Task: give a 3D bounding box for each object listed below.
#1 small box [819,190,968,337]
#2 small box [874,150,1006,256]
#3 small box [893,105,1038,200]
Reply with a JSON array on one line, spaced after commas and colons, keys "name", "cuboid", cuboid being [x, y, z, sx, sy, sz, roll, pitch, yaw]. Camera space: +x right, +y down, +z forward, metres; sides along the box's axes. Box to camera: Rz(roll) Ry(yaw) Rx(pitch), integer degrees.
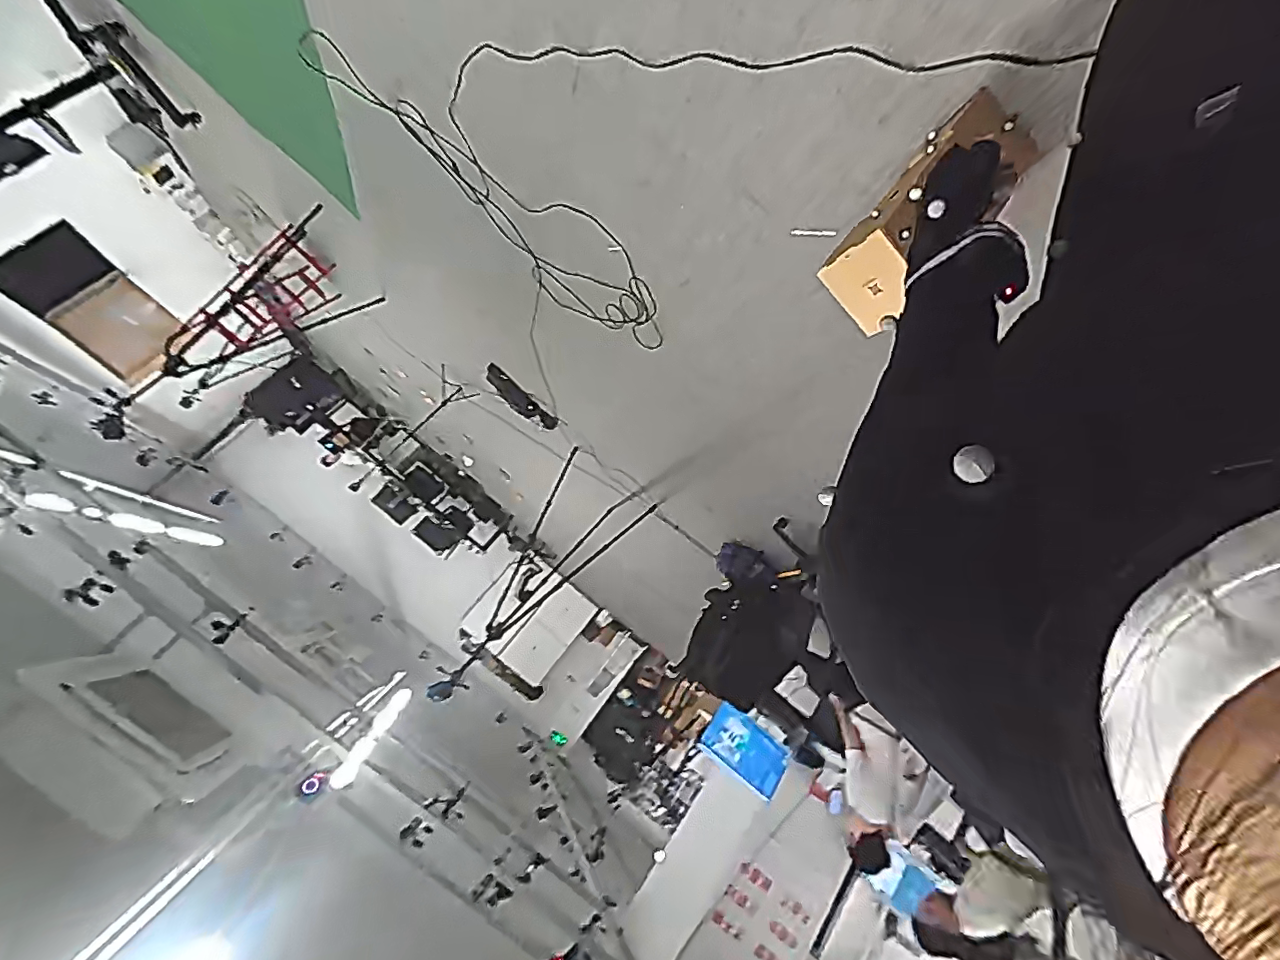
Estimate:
[{"name": "small box", "cuboid": [0.500, -0.421, 1.063, 0.179, 0.176, 0.168, 45, 159, -12]}, {"name": "small box", "cuboid": [0.602, -0.538, 1.112, 0.179, 0.176, 0.168, 42, 159, -7]}, {"name": "small box", "cuboid": [0.700, -0.661, 1.166, 0.179, 0.176, 0.168, 43, 162, -3]}]
